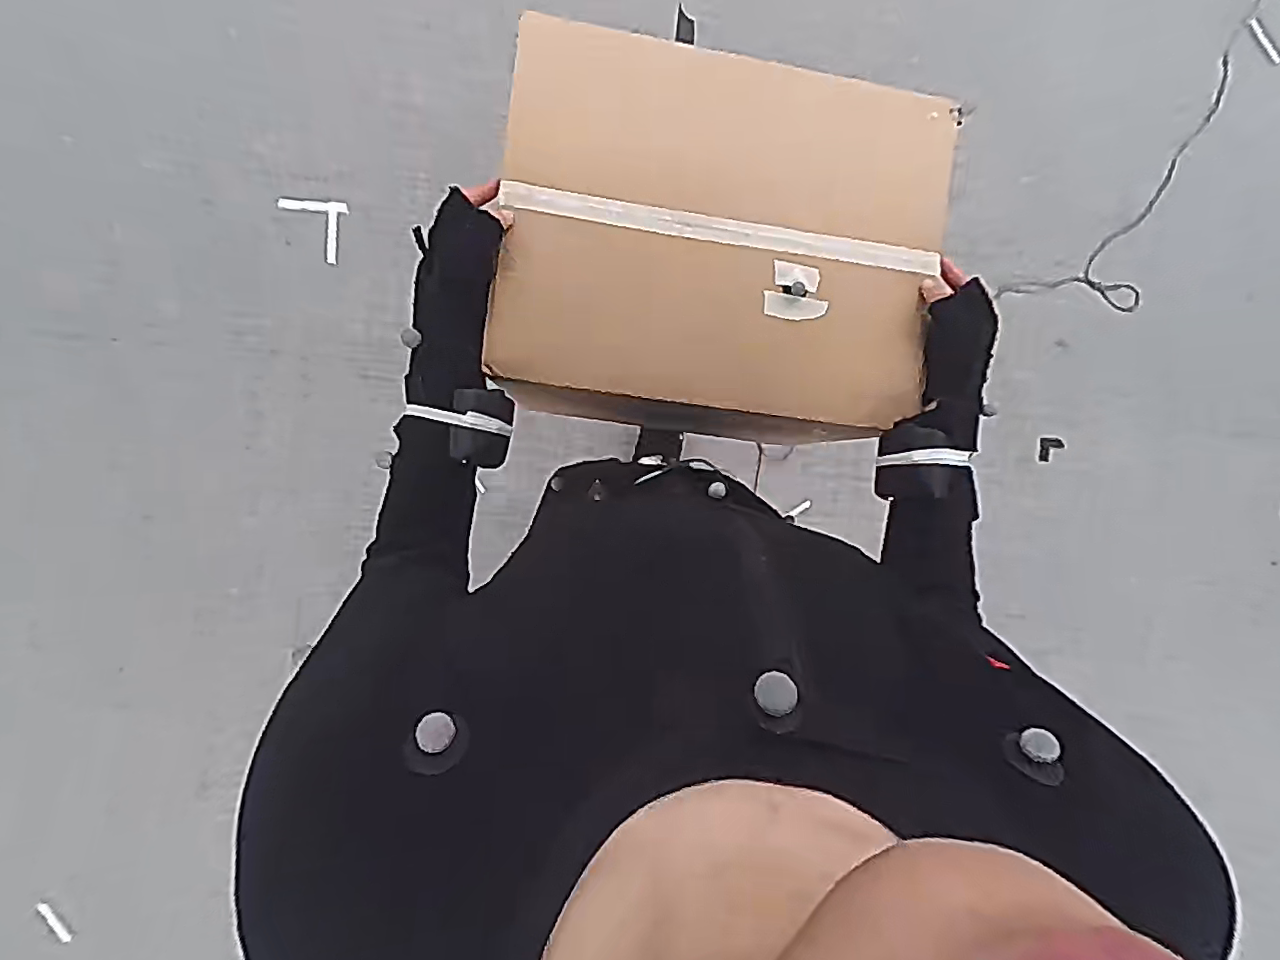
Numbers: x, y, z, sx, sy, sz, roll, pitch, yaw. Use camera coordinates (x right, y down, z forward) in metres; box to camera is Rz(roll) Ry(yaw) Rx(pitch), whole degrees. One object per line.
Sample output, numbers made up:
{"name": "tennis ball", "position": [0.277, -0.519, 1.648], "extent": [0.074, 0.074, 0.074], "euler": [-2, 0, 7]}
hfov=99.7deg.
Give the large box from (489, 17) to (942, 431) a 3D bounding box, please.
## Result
{"name": "large box", "position": [0.058, -0.238, 0.642], "extent": [0.408, 0.320, 0.320], "euler": [7, 93, -7]}
